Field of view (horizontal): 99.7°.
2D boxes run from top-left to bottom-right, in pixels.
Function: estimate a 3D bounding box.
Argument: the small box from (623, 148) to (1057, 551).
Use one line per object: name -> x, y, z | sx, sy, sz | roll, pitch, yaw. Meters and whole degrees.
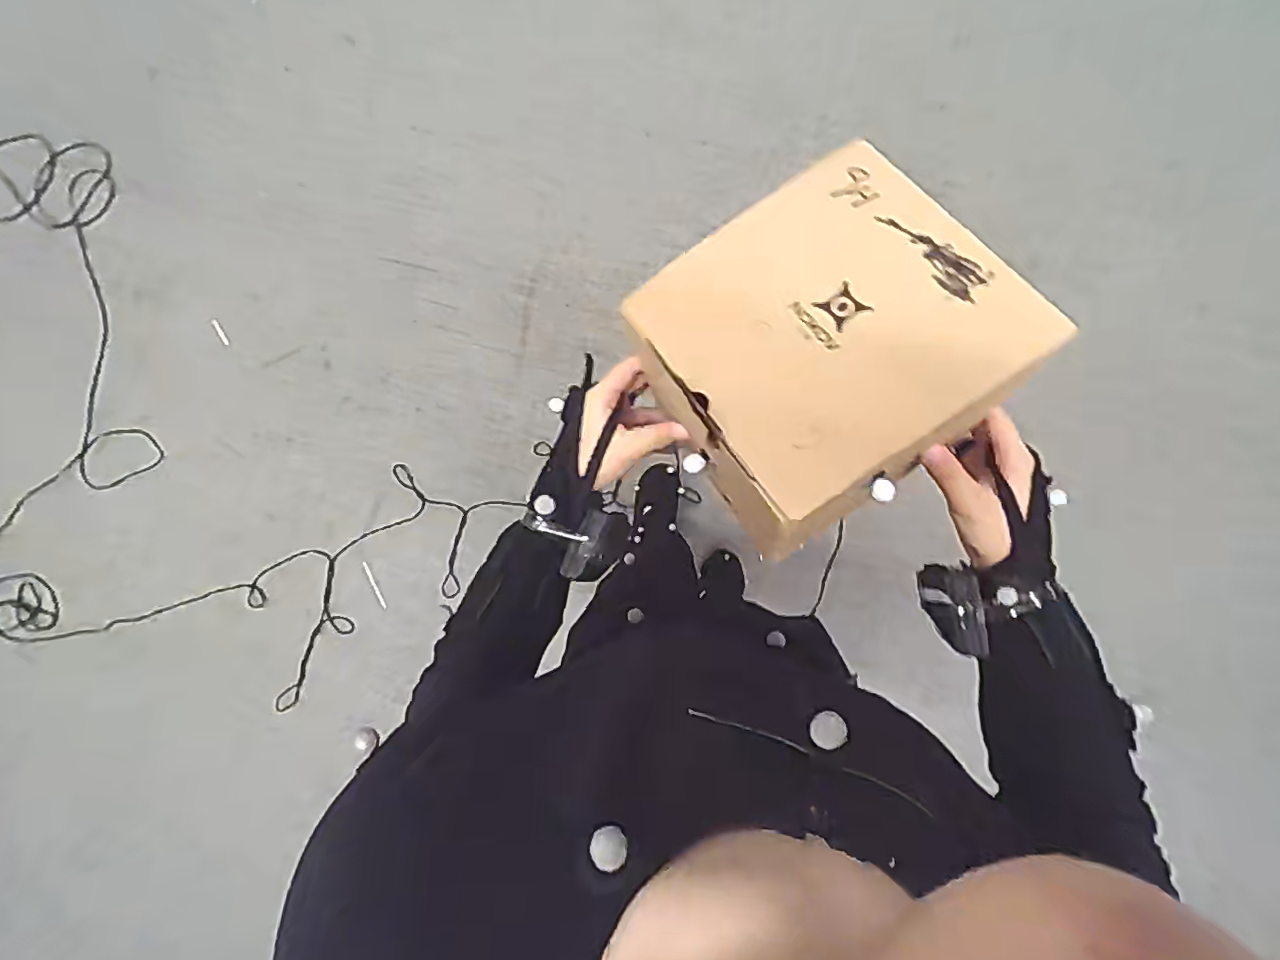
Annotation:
small box -> 0.117, -0.068, 0.376 | 0.179, 0.176, 0.168 | -34, 71, 1
